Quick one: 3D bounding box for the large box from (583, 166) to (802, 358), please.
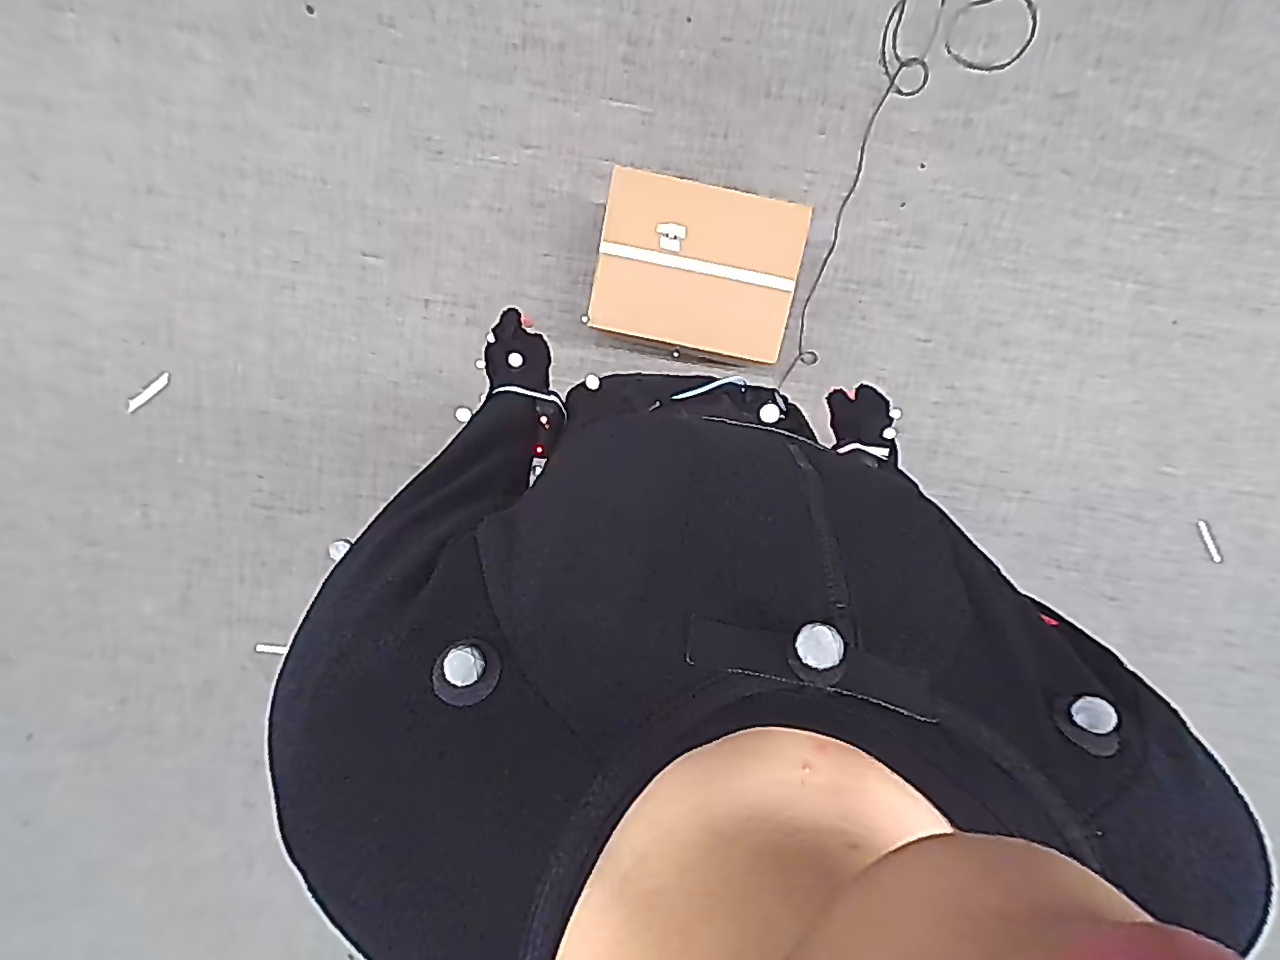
[{"bbox_3d":[0.107,-0.469,1.245,0.408,0.320,0.320,11,100,-2],"label":"large box"}]
